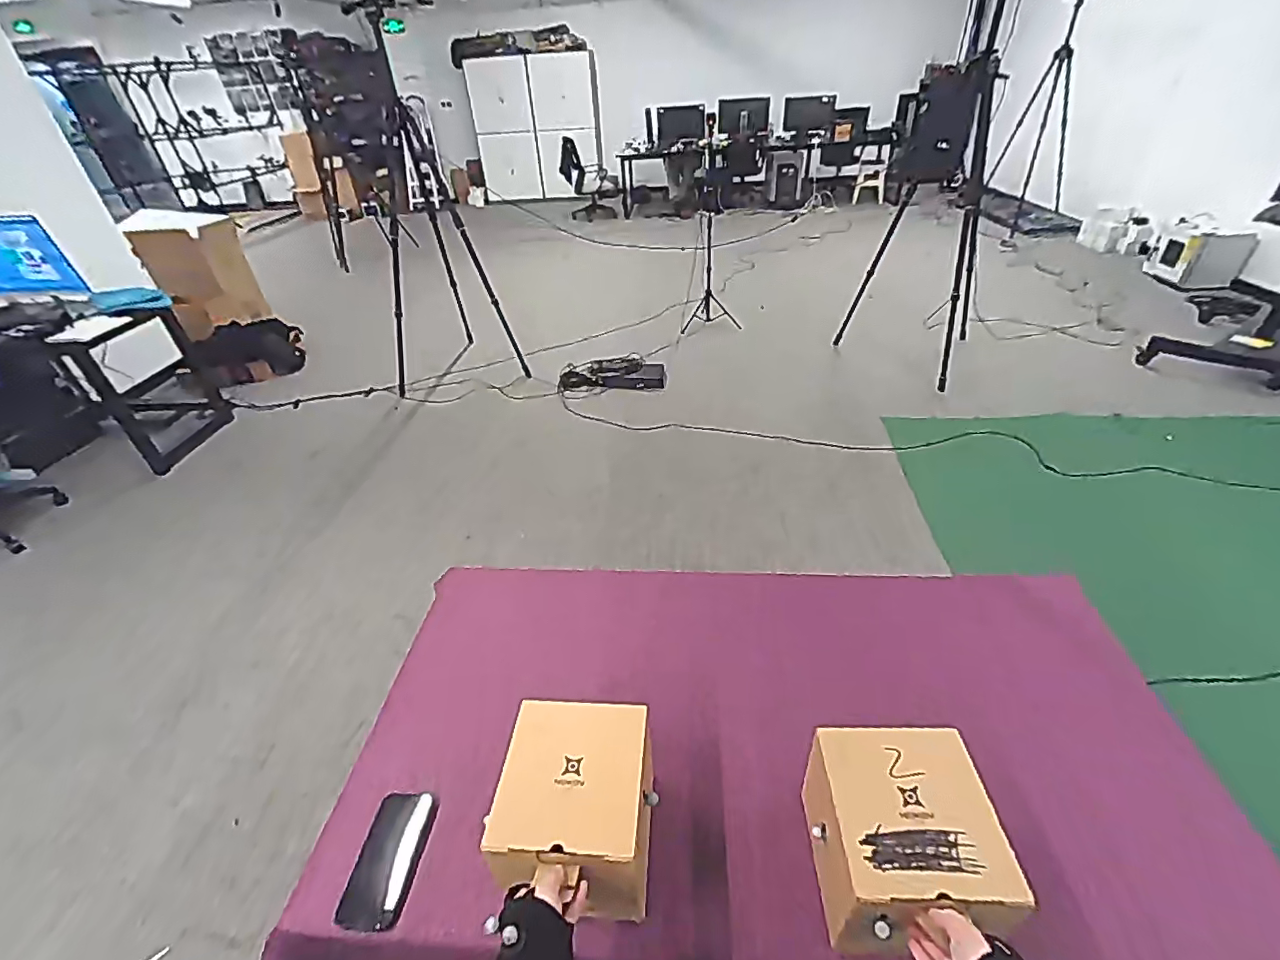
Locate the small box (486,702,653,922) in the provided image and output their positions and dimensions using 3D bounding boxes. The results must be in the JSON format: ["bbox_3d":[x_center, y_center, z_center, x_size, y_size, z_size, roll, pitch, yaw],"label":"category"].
[{"bbox_3d":[-0.072,0.407,0.671,0.168,0.176,0.179,1,36,6],"label":"small box"}]
